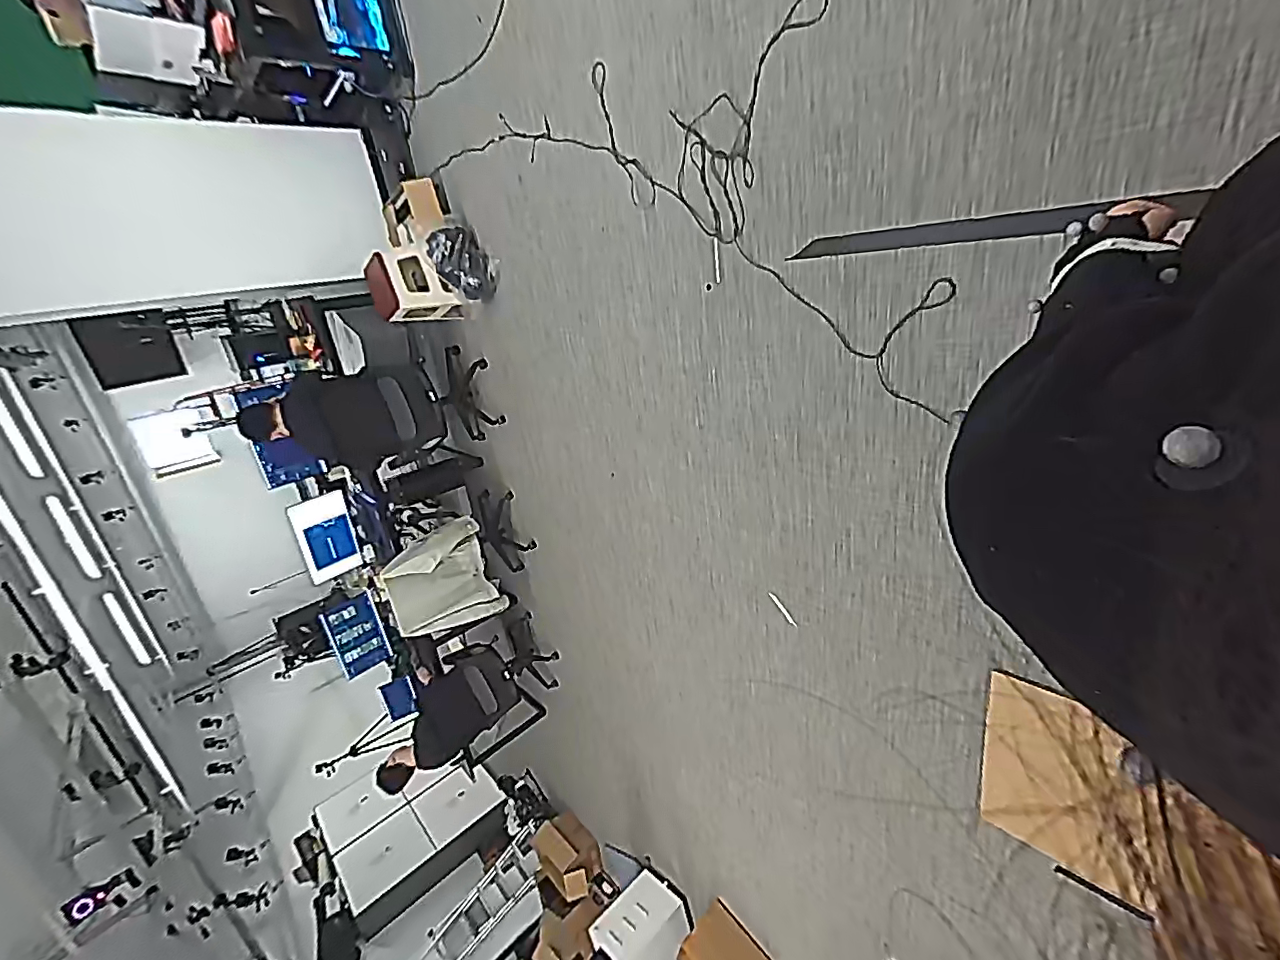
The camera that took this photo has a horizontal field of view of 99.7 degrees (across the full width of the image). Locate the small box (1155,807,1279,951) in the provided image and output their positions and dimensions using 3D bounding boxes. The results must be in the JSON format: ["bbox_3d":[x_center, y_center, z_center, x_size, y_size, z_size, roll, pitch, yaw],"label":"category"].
[{"bbox_3d":[1.348,0.918,1.262,0.168,0.176,0.179,19,125,46],"label":"small box"}]

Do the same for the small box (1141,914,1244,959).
[{"bbox_3d":[1.105,1.034,1.072,0.168,0.176,0.179,16,122,46],"label":"small box"}]
